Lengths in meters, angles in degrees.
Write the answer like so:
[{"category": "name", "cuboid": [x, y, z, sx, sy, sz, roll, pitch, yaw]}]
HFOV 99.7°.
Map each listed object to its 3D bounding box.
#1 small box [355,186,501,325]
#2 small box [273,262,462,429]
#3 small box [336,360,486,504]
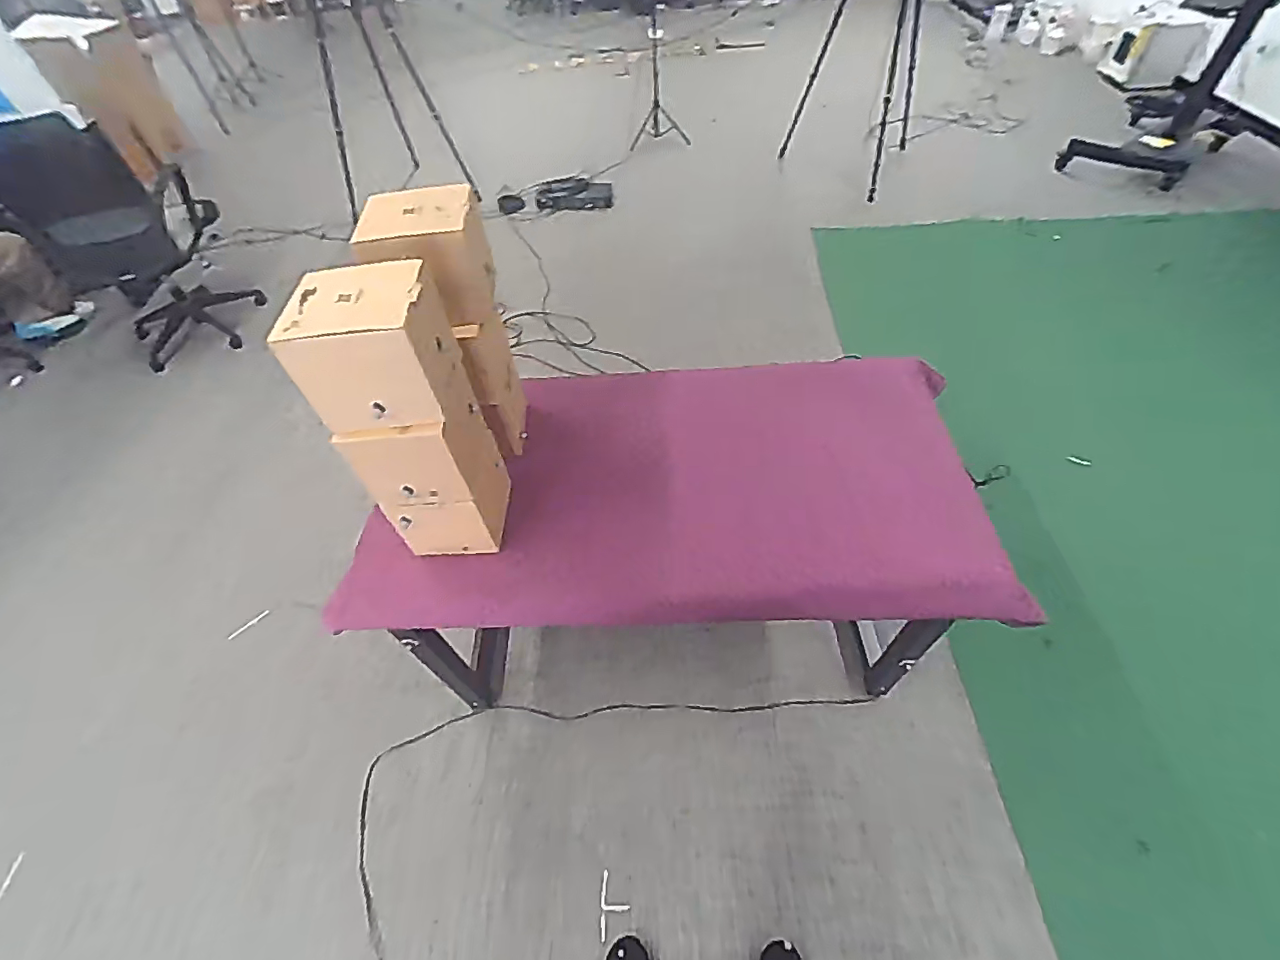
[{"category": "small box", "cuboid": [-0.354, -0.380, 0.938, 0.179, 0.176, 0.168, -7, 52, -2]}, {"category": "small box", "cuboid": [-0.376, -0.192, 0.790, 0.179, 0.176, 0.168, -5, 50, 0]}, {"category": "small box", "cuboid": [-0.367, -0.080, 0.909, 0.168, 0.176, 0.179, -4, 51, 1]}]
